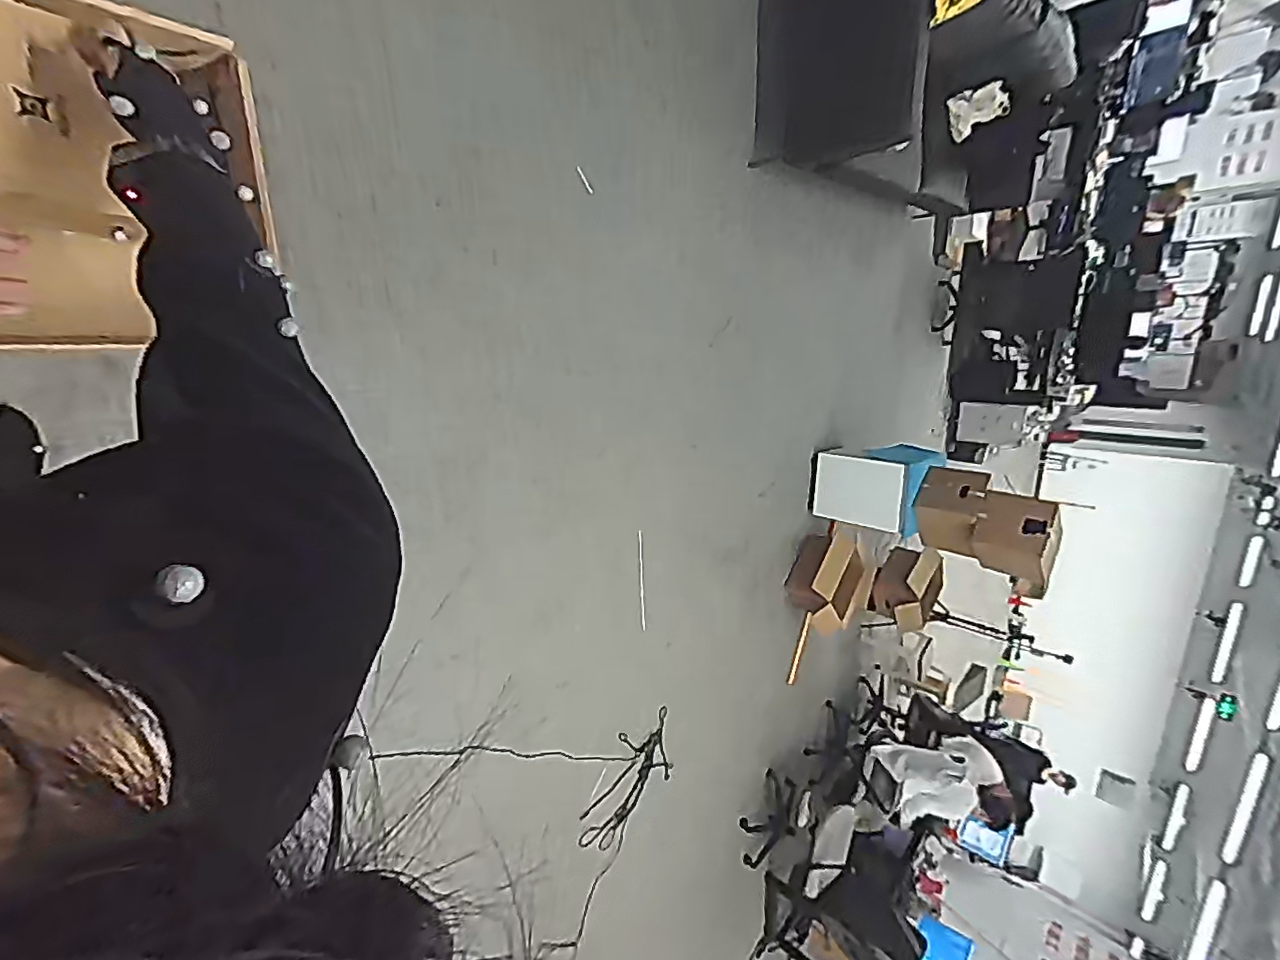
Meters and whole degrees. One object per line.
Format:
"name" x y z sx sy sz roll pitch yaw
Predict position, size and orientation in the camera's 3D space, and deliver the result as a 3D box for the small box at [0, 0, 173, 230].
"small box" -0.598 -0.359 0.541 0.179 0.176 0.168 -8 106 -44
